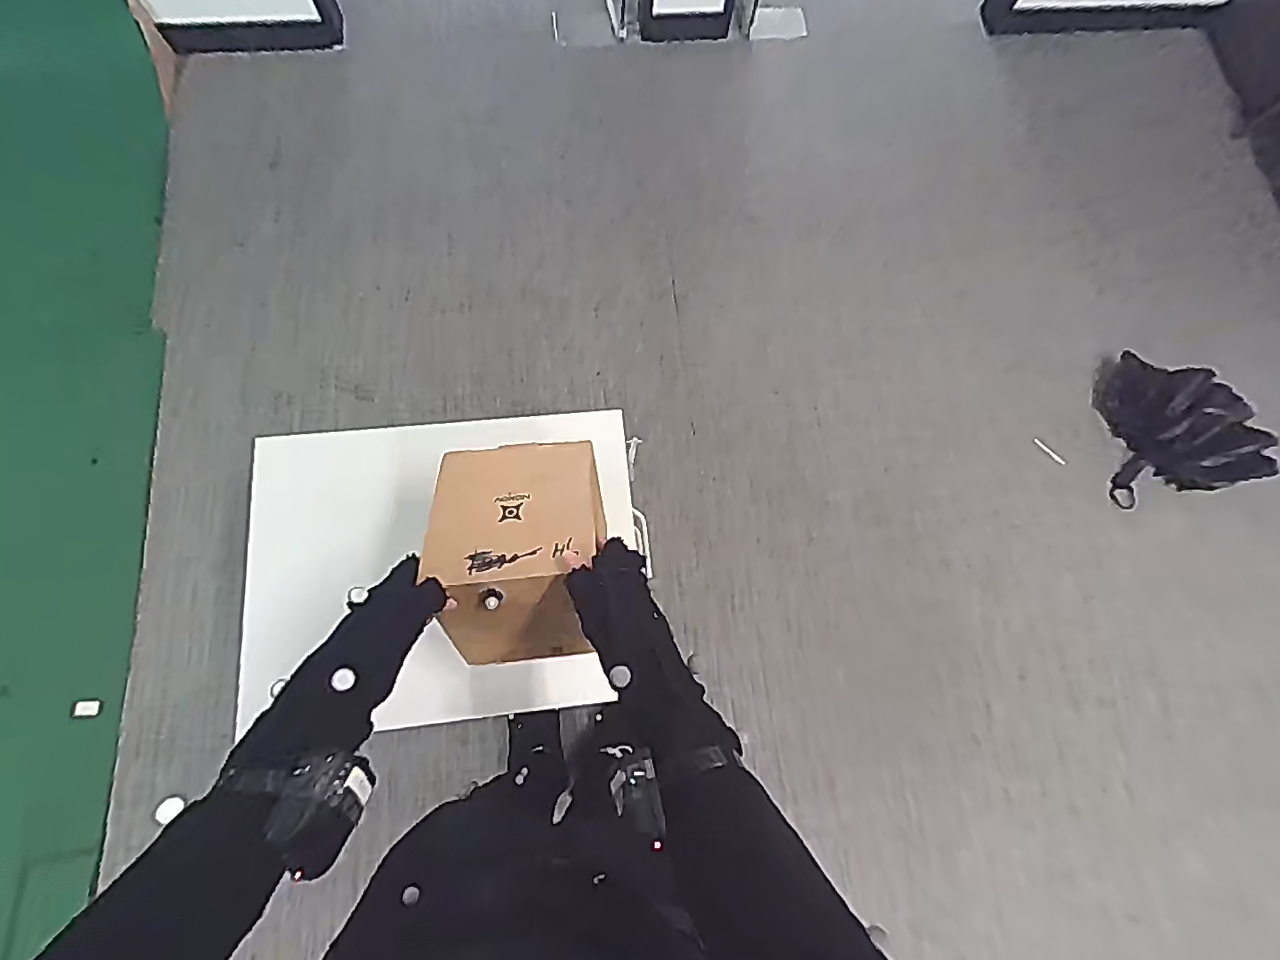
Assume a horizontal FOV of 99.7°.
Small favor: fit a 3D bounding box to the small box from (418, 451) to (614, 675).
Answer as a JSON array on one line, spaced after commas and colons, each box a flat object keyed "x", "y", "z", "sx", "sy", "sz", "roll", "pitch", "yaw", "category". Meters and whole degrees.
[{"x": -0.121, "y": 0.092, "z": 0.602, "sx": 0.168, "sy": 0.176, "sz": 0.179, "roll": -6, "pitch": 44, "yaw": 0, "category": "small box"}]
